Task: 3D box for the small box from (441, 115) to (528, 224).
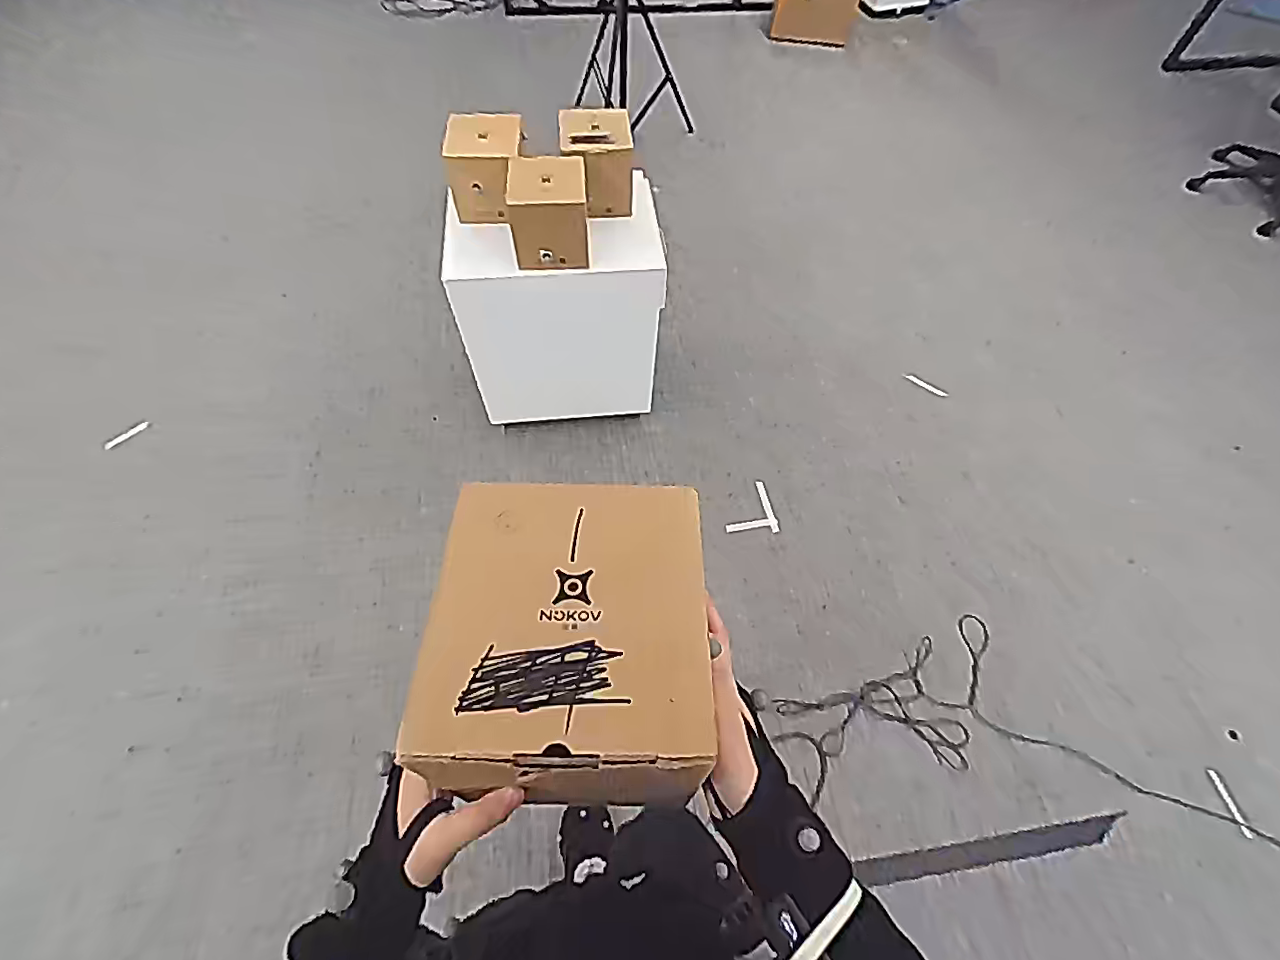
[{"bbox_3d":[-0.361,-0.735,1.290,0.168,0.176,0.179,-3,60,-4],"label":"small box"}]
